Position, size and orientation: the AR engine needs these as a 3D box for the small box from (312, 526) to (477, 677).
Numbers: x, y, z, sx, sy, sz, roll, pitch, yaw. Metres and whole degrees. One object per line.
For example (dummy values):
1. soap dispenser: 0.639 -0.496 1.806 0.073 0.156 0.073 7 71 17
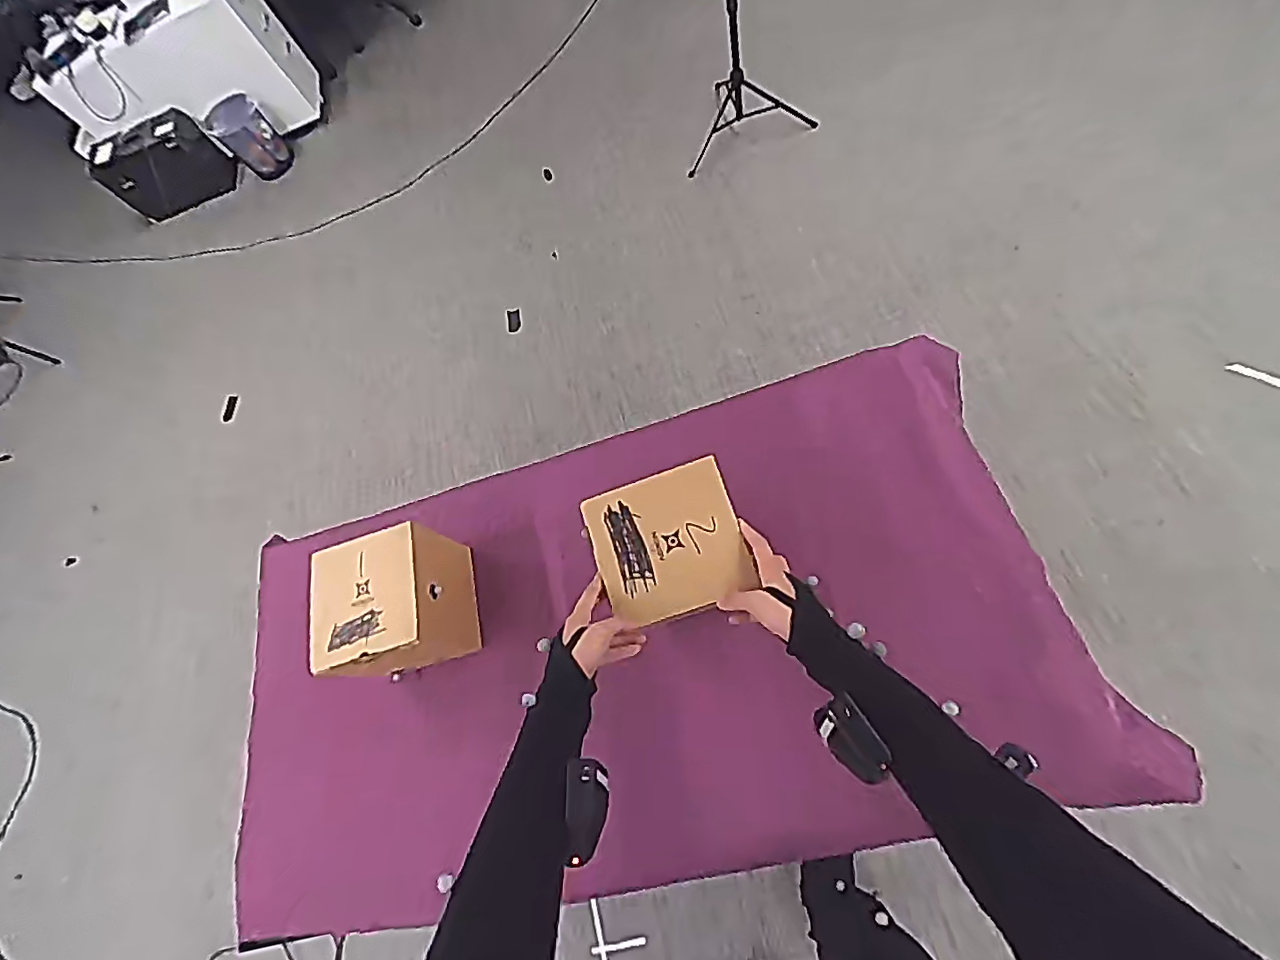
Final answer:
1. small box: -0.367 0.192 0.827 0.168 0.176 0.179 -18 66 7
